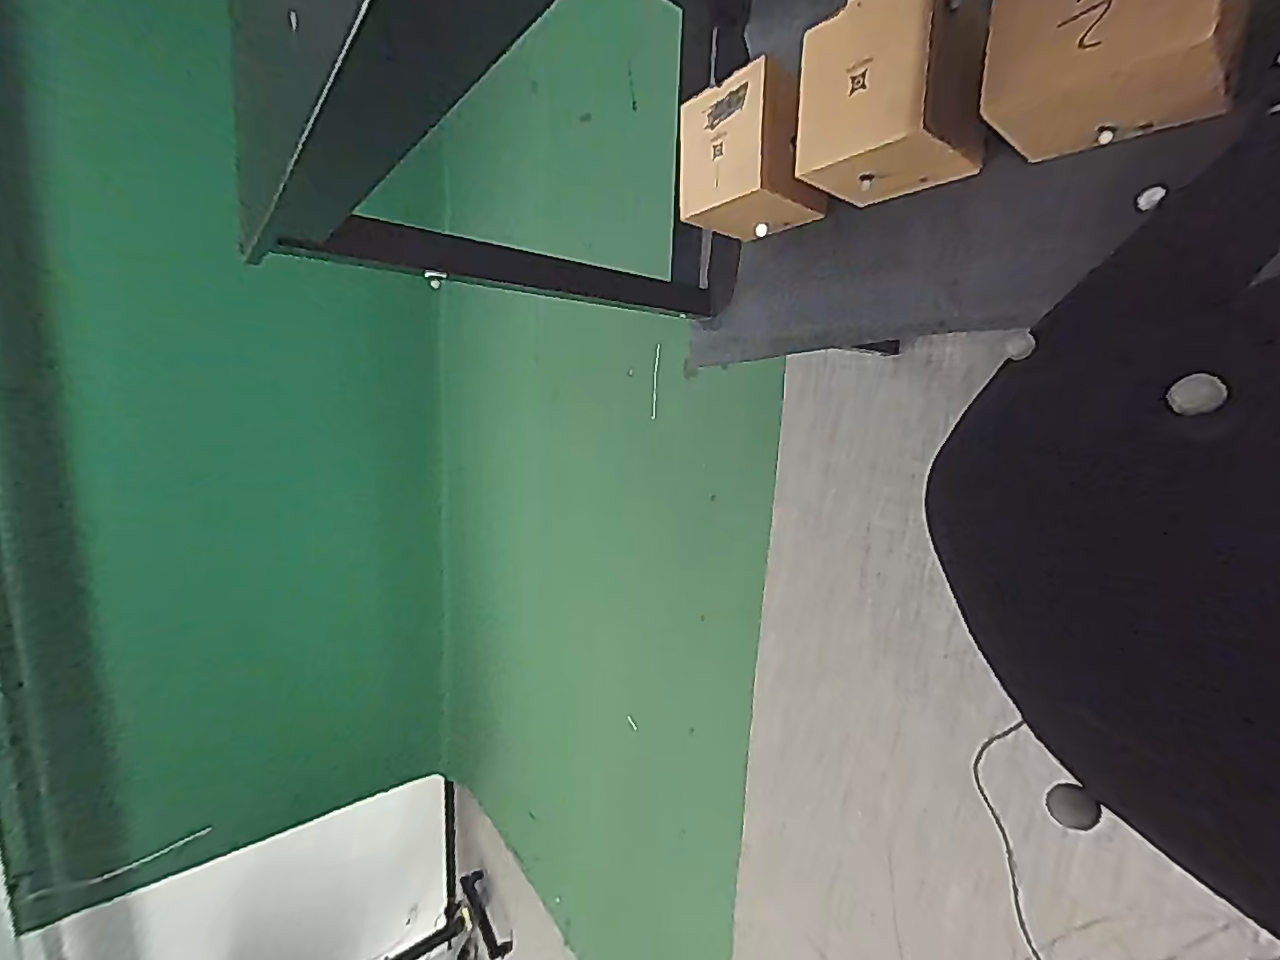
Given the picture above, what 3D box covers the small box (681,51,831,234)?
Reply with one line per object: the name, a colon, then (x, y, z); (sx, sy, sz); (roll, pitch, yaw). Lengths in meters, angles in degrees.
small box: (0.183, -0.512, 0.853); (0.168, 0.176, 0.179); (10, 102, 51)
